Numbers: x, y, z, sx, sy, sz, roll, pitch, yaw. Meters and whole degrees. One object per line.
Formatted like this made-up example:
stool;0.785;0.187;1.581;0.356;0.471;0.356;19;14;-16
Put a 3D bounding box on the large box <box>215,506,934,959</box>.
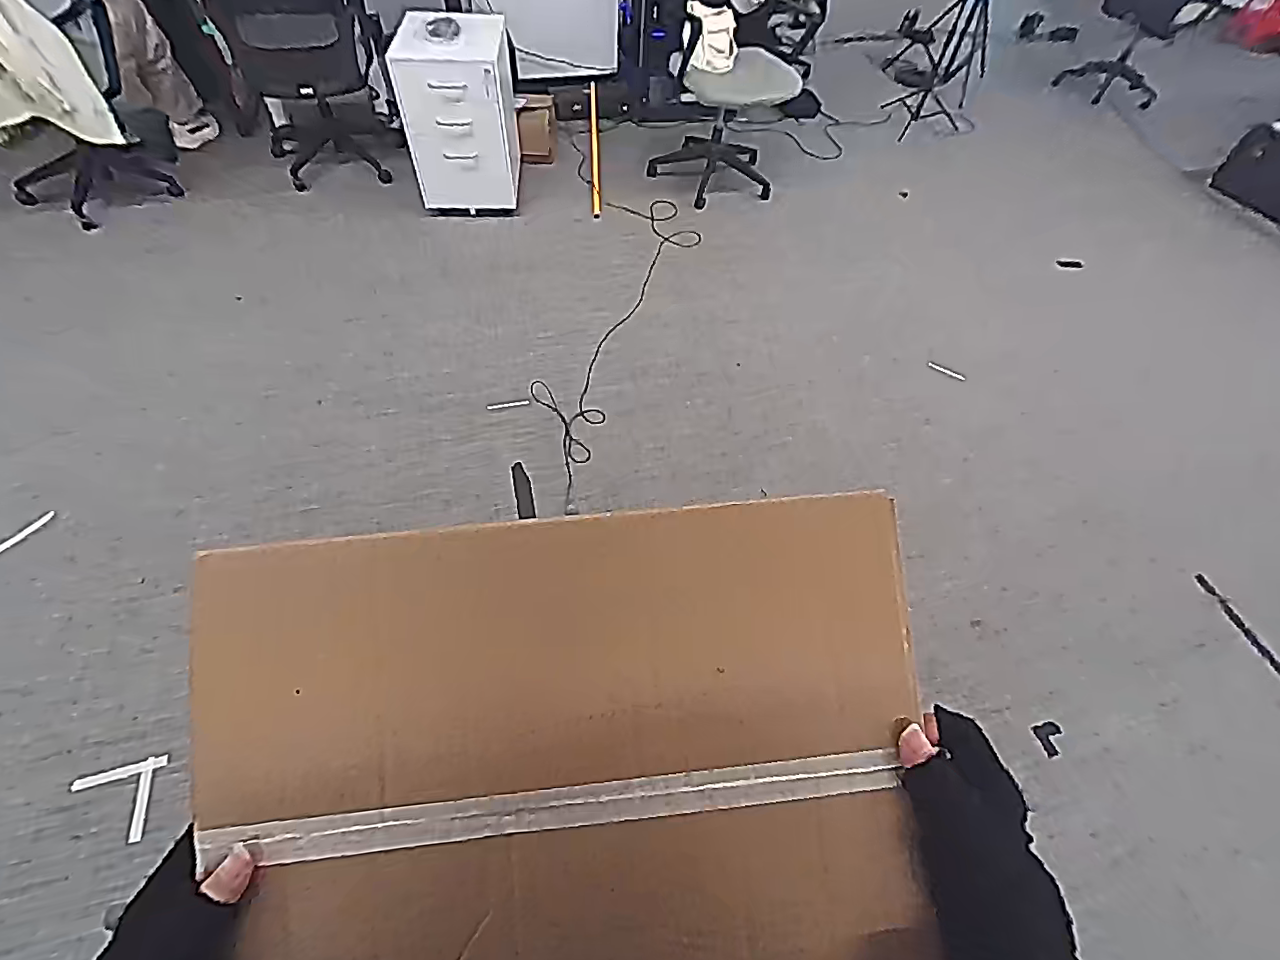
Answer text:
large box;-0.041;0.200;0.462;0.408;0.320;0.320;-5;85;-3
